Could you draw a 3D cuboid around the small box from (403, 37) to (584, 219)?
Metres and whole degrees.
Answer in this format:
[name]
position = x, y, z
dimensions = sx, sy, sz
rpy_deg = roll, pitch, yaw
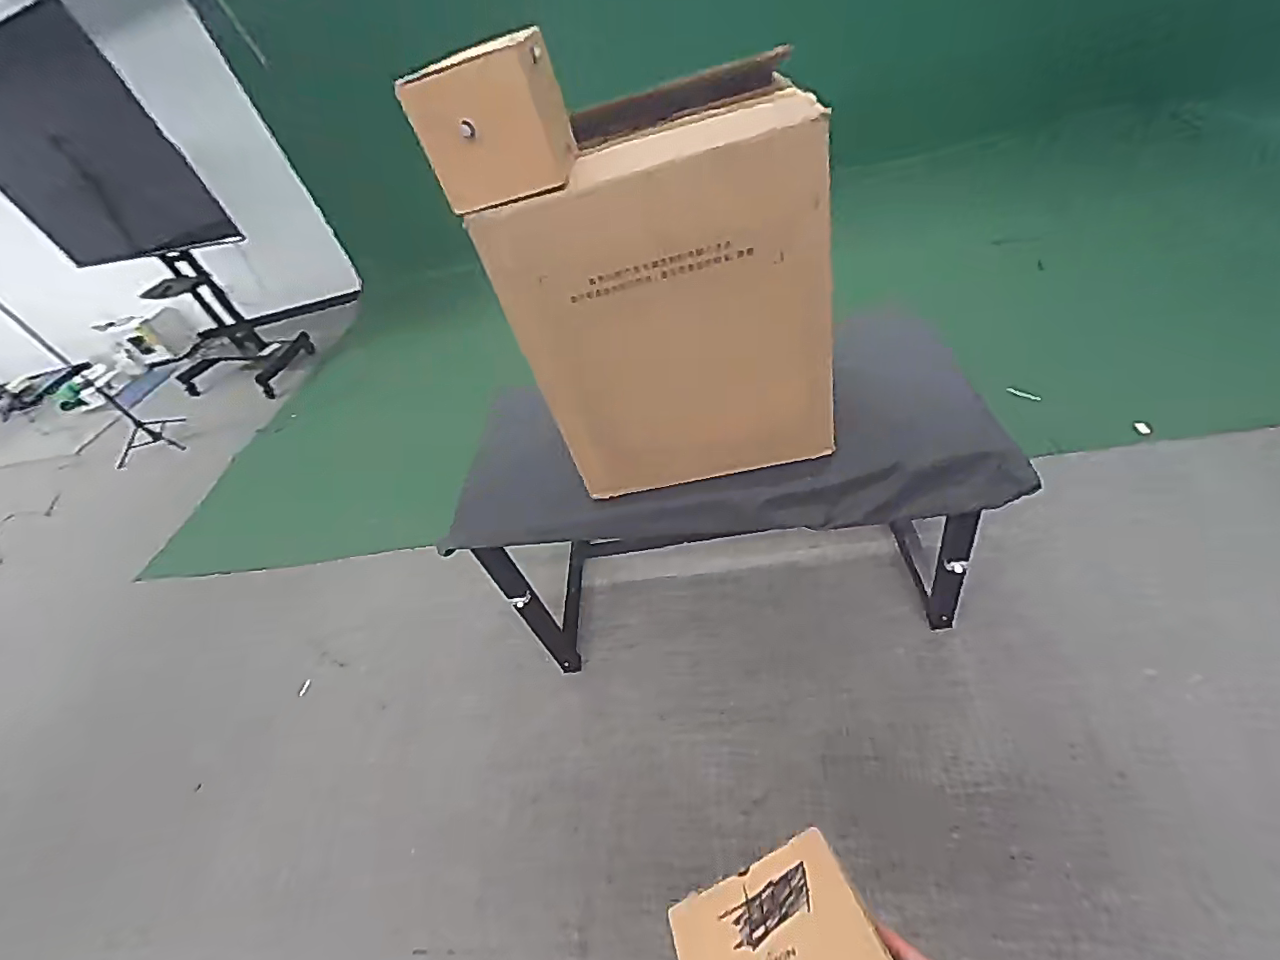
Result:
[small box]
position = -0.201, -0.511, 0.796
dimensions = 0.179, 0.176, 0.168
rpy_deg = -9, 44, 14
